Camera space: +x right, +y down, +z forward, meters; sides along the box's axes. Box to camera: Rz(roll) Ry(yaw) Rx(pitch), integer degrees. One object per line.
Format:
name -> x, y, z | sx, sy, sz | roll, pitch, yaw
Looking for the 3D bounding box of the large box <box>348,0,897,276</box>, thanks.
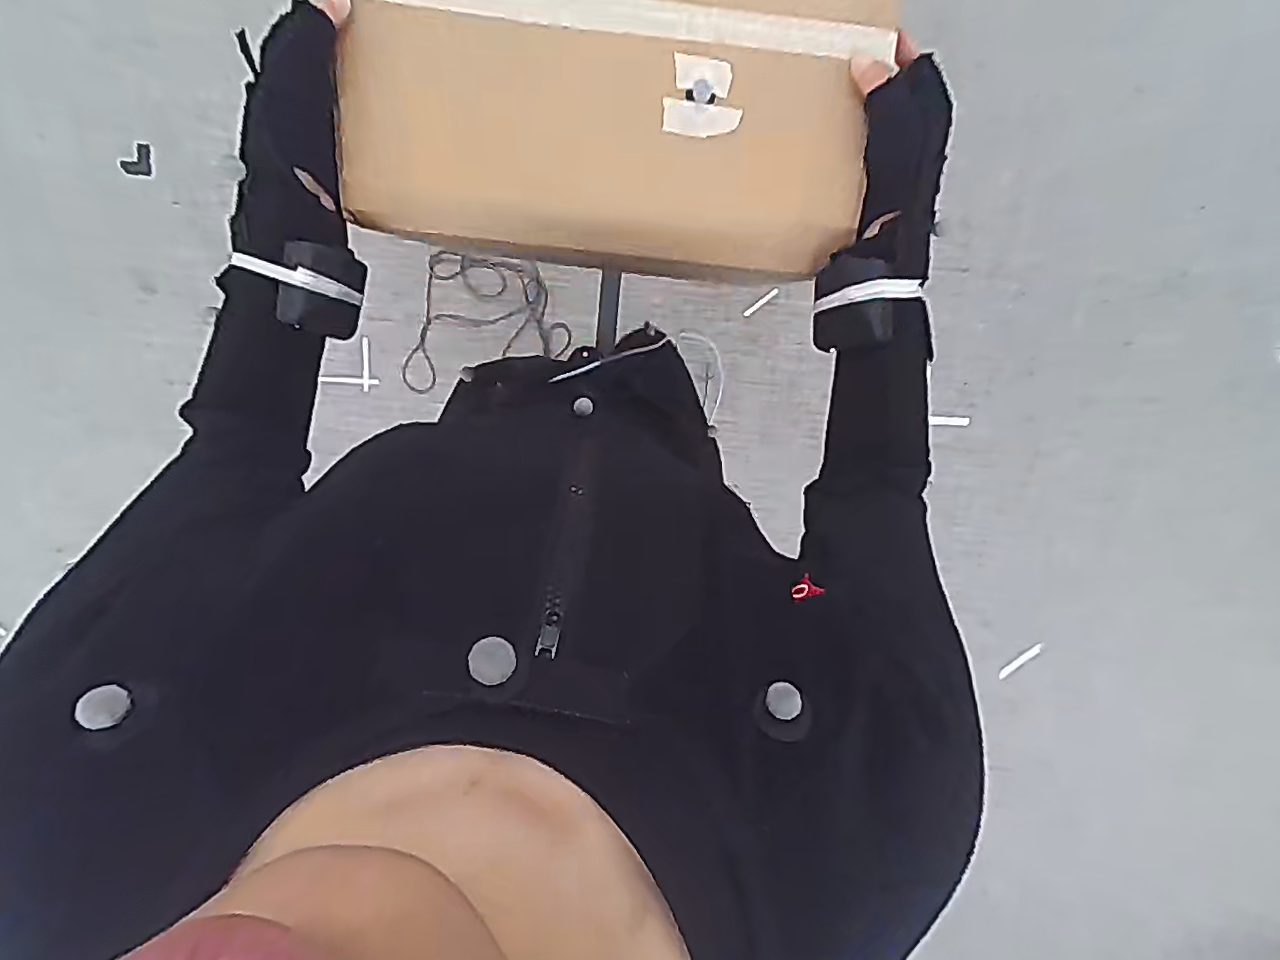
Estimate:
large box -> -0.017, -0.388, 0.536 | 0.408, 0.320, 0.320 | 5, 110, -4
